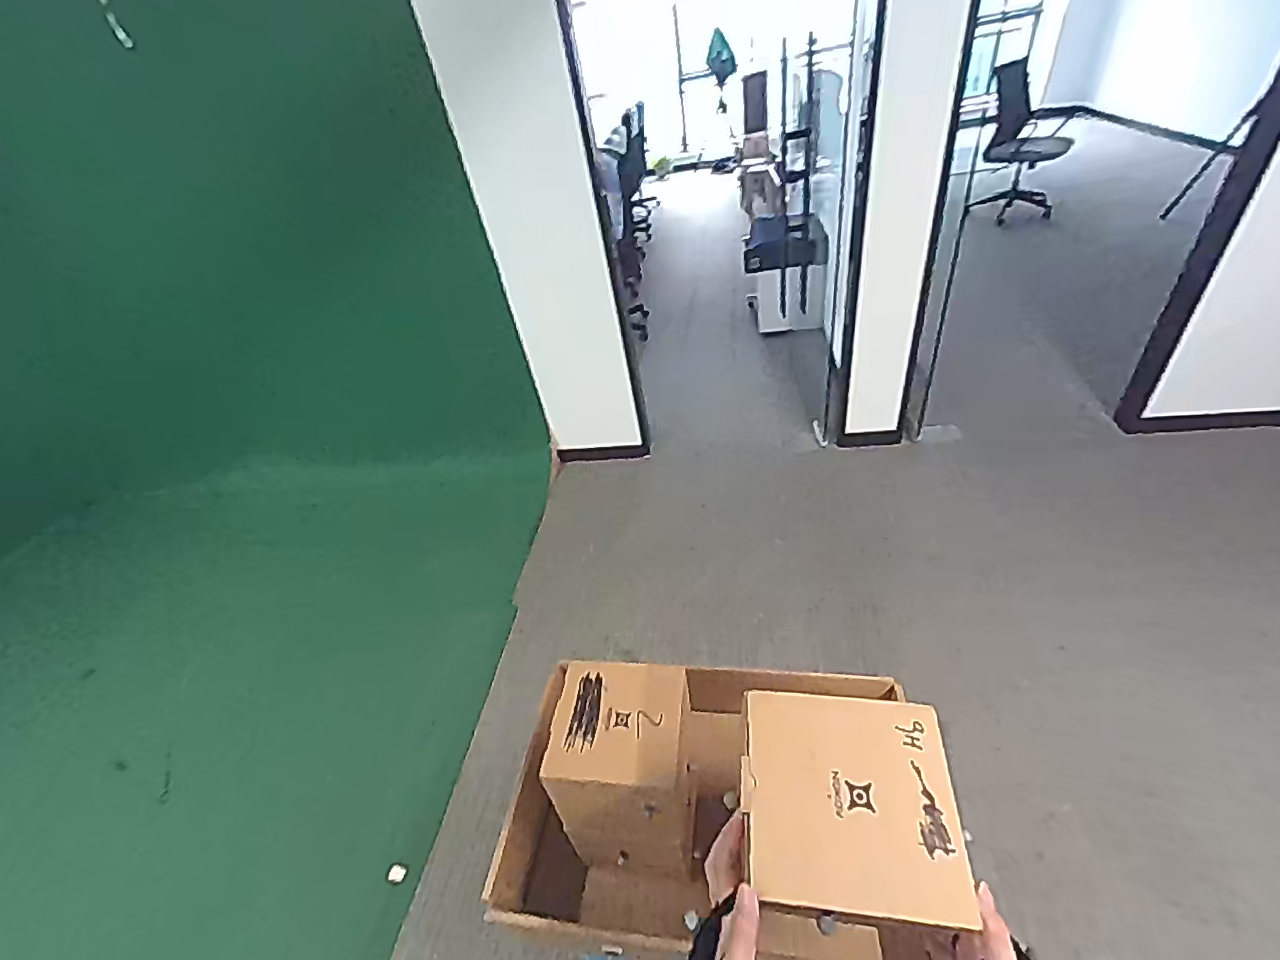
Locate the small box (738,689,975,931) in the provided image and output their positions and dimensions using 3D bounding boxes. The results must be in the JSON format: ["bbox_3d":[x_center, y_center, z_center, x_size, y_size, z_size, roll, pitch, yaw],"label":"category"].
[{"bbox_3d":[0.186,0.321,0.526,0.179,0.176,0.168,2,50,10],"label":"small box"}]
